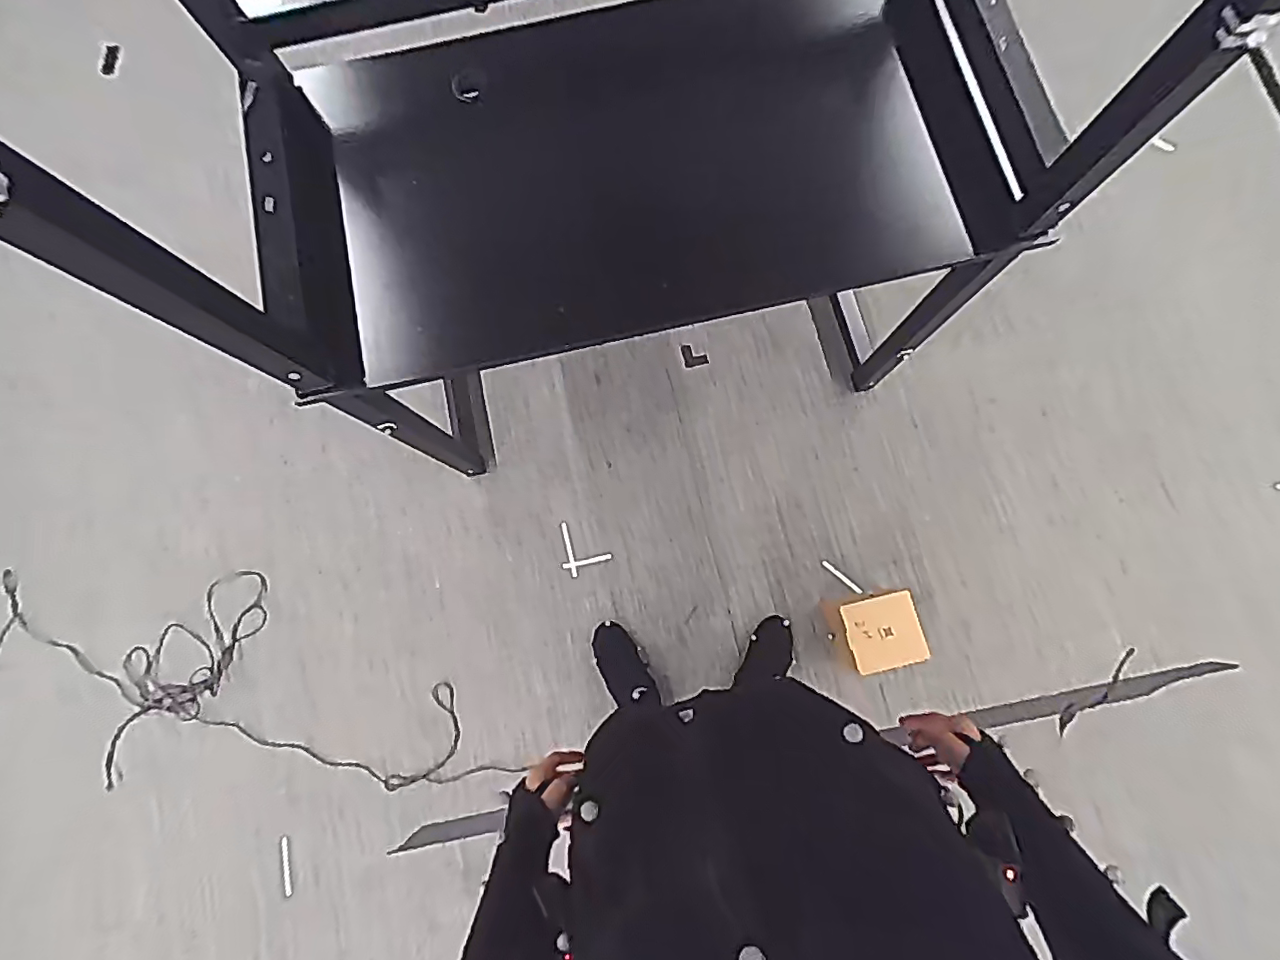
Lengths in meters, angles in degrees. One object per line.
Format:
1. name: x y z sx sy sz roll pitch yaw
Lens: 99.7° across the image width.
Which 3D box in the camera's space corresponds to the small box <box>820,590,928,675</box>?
1. small box: 0.577 0.375 1.358 0.179 0.176 0.168 -13 80 0
